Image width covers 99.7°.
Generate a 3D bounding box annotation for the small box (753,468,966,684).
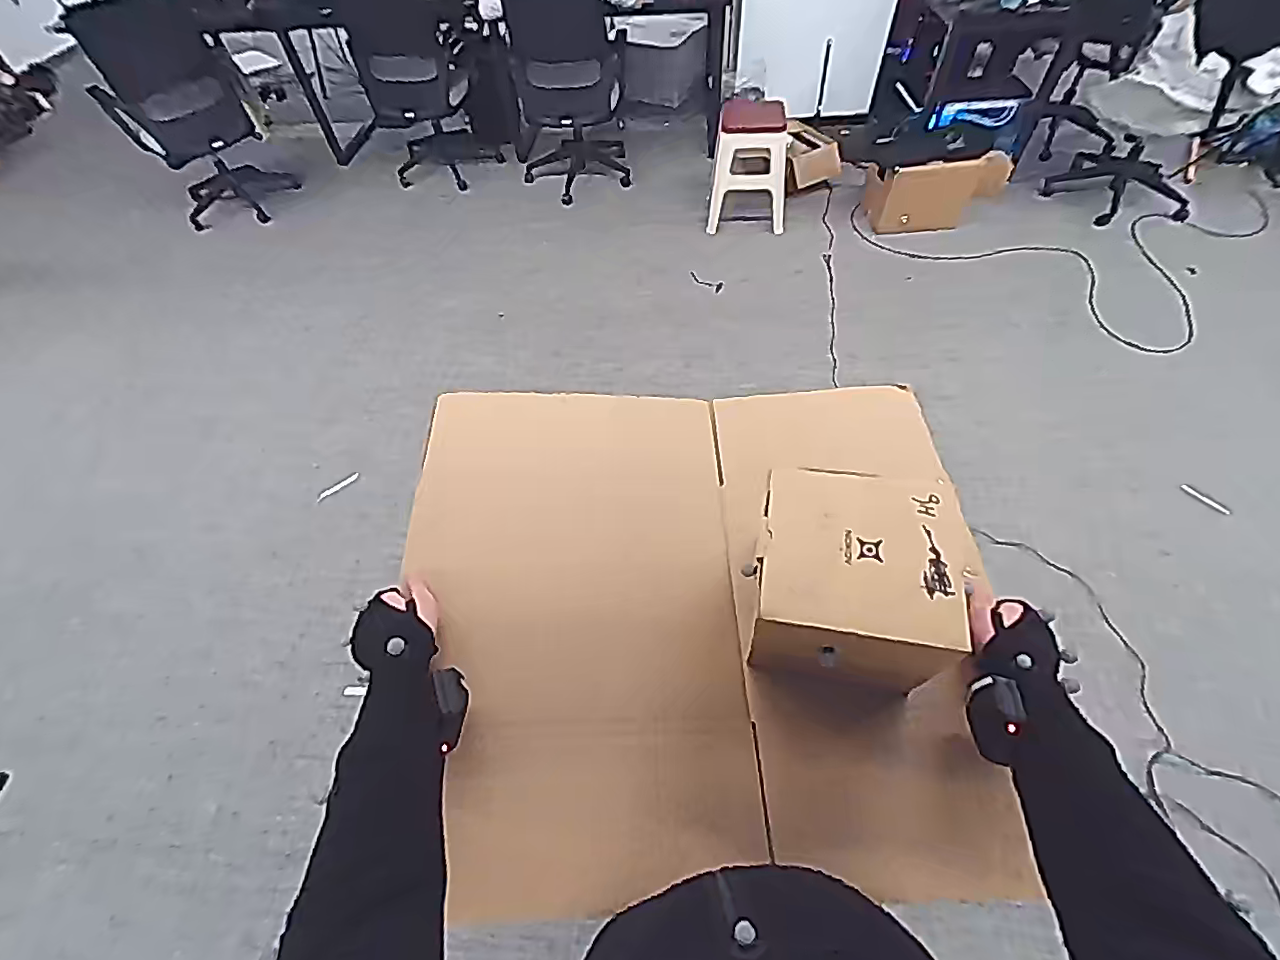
[{"bbox_3d":[0.218,0.107,0.578,0.179,0.176,0.168,6,59,12],"label":"small box"}]
